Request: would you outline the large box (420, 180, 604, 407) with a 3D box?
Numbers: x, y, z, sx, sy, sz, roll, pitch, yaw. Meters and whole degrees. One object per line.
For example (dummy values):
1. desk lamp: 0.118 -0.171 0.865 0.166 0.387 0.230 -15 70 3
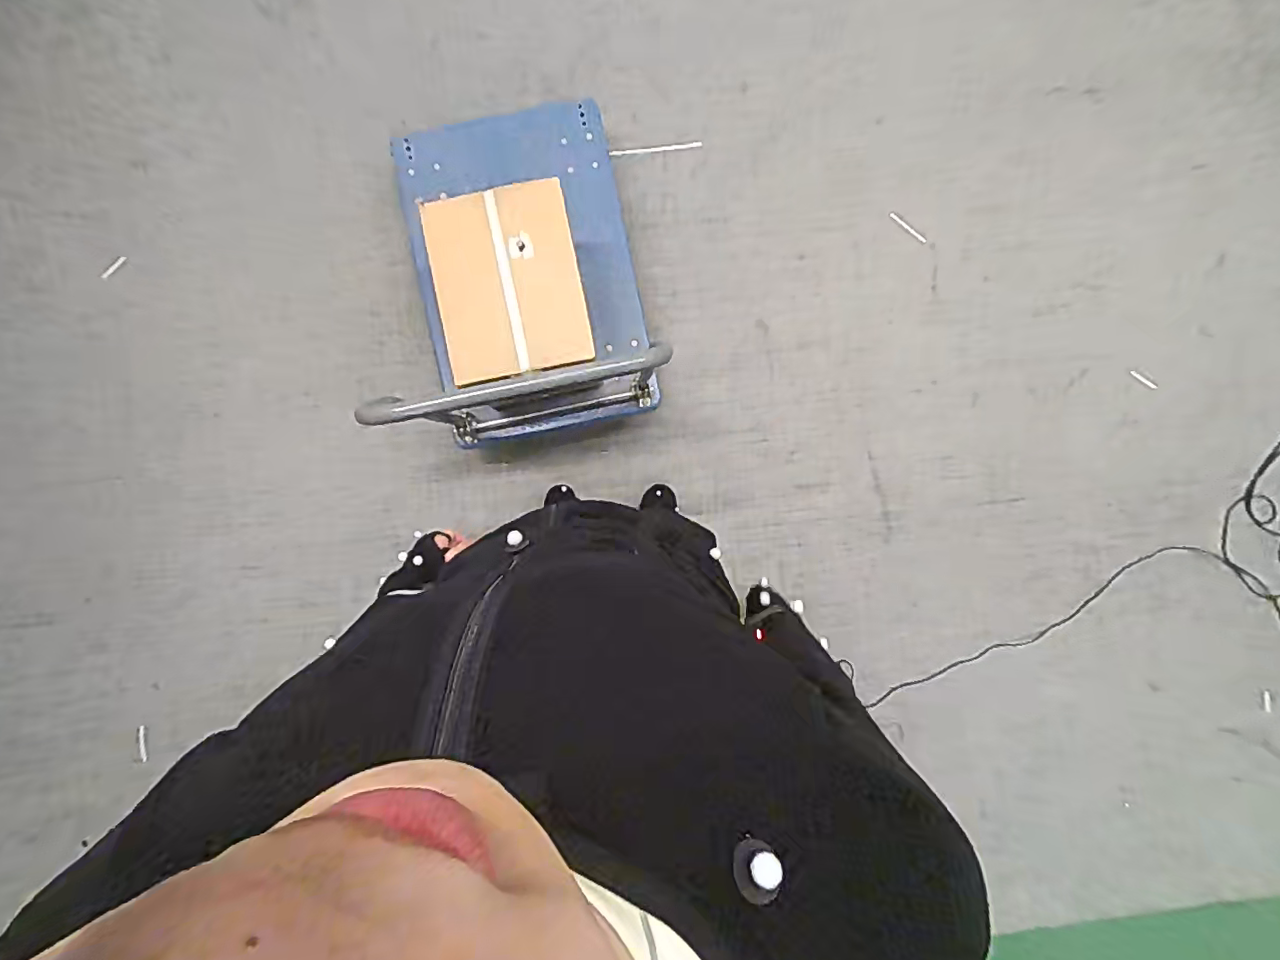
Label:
1. large box: -0.285 -0.425 1.317 0.320 0.320 0.408 -12 89 -2
